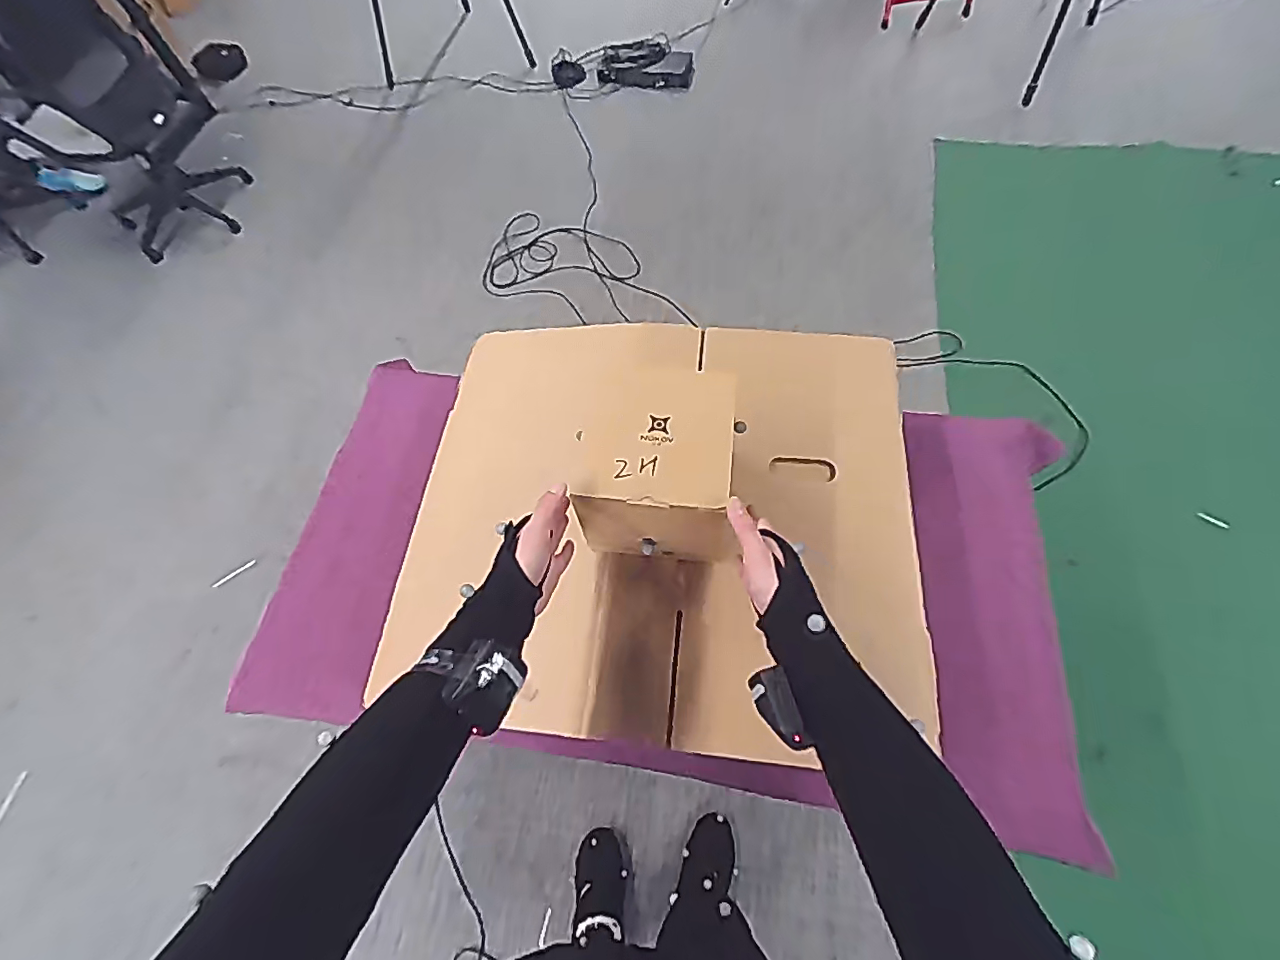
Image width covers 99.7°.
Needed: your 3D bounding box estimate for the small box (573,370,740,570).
[{"bbox_3d":[0.025,-0.008,0.656,0.168,0.176,0.179,6,63,6],"label":"small box"}]
